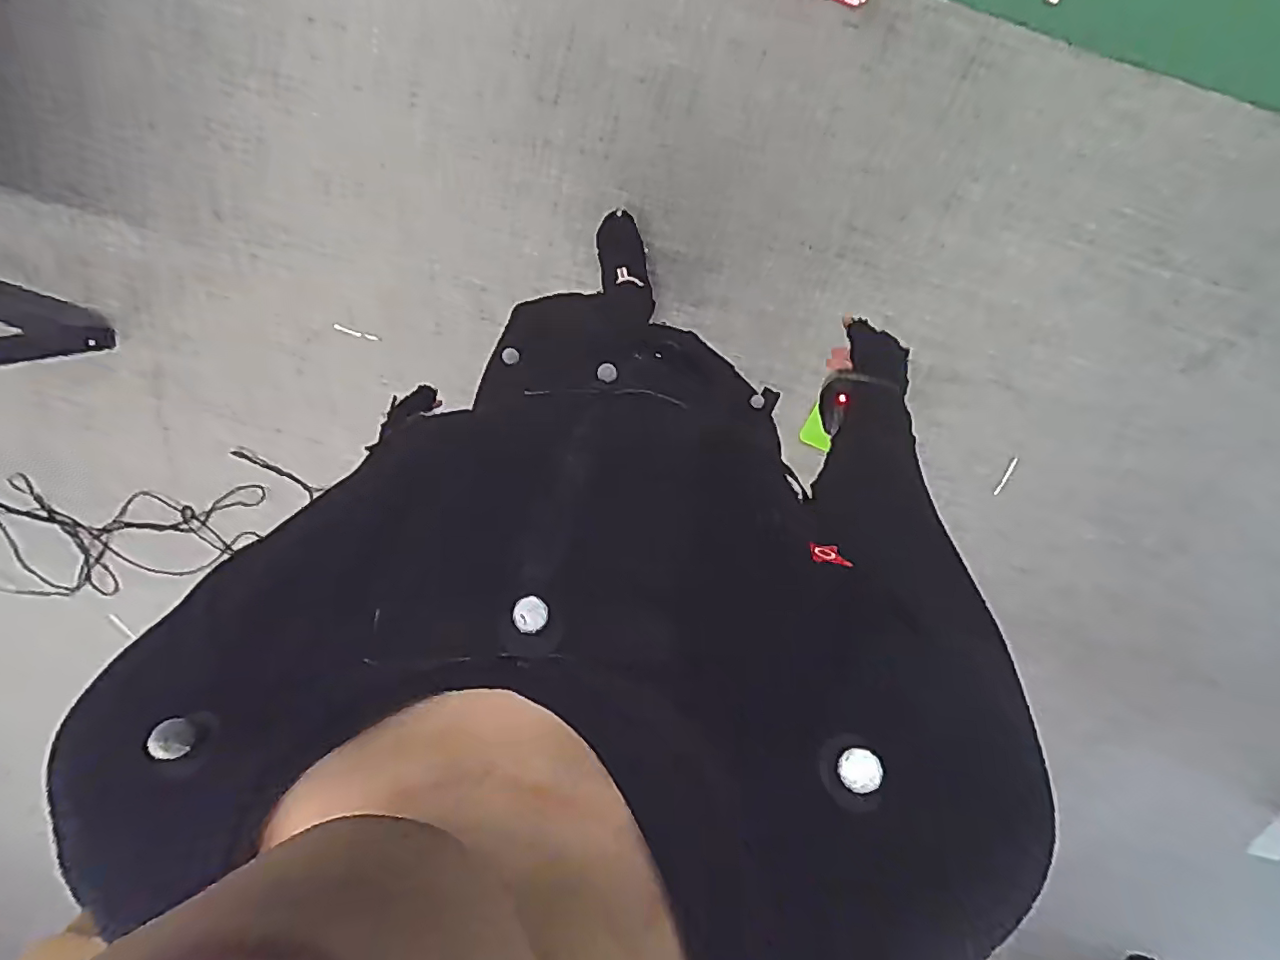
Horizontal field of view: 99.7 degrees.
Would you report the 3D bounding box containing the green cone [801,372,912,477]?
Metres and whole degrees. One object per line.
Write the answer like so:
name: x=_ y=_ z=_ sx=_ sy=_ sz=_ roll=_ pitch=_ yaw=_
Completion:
green cone: x=0.531 y=-0.095 z=1.237 sx=0.200 sy=0.368 sz=0.202 roll=22 pitch=111 yaw=-5
